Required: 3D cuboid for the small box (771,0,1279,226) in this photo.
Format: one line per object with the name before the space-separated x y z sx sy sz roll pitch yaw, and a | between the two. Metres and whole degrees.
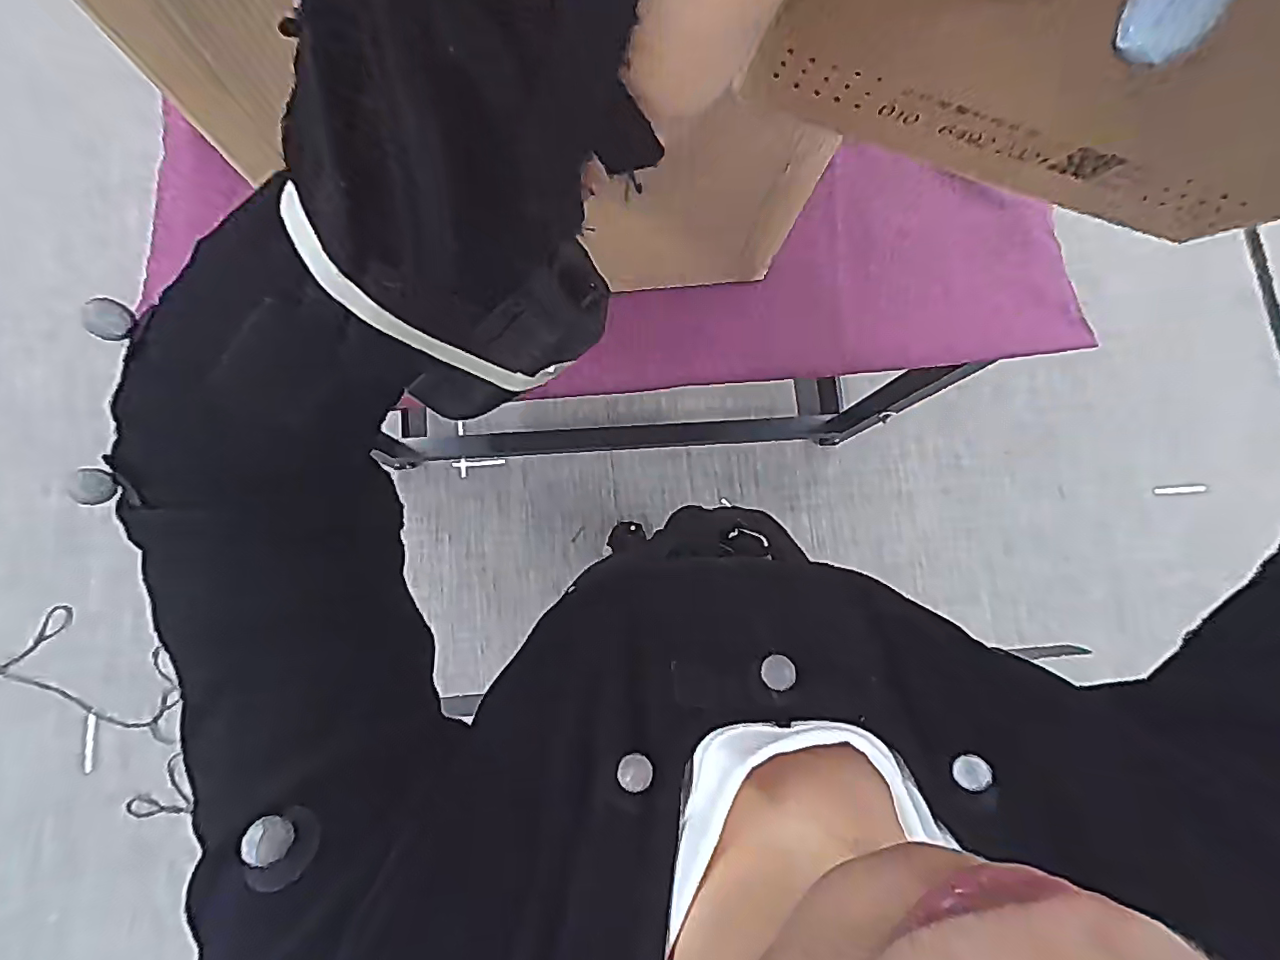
small box | 0.134 -0.164 0.084 0.168 0.176 0.179 14 100 -5
